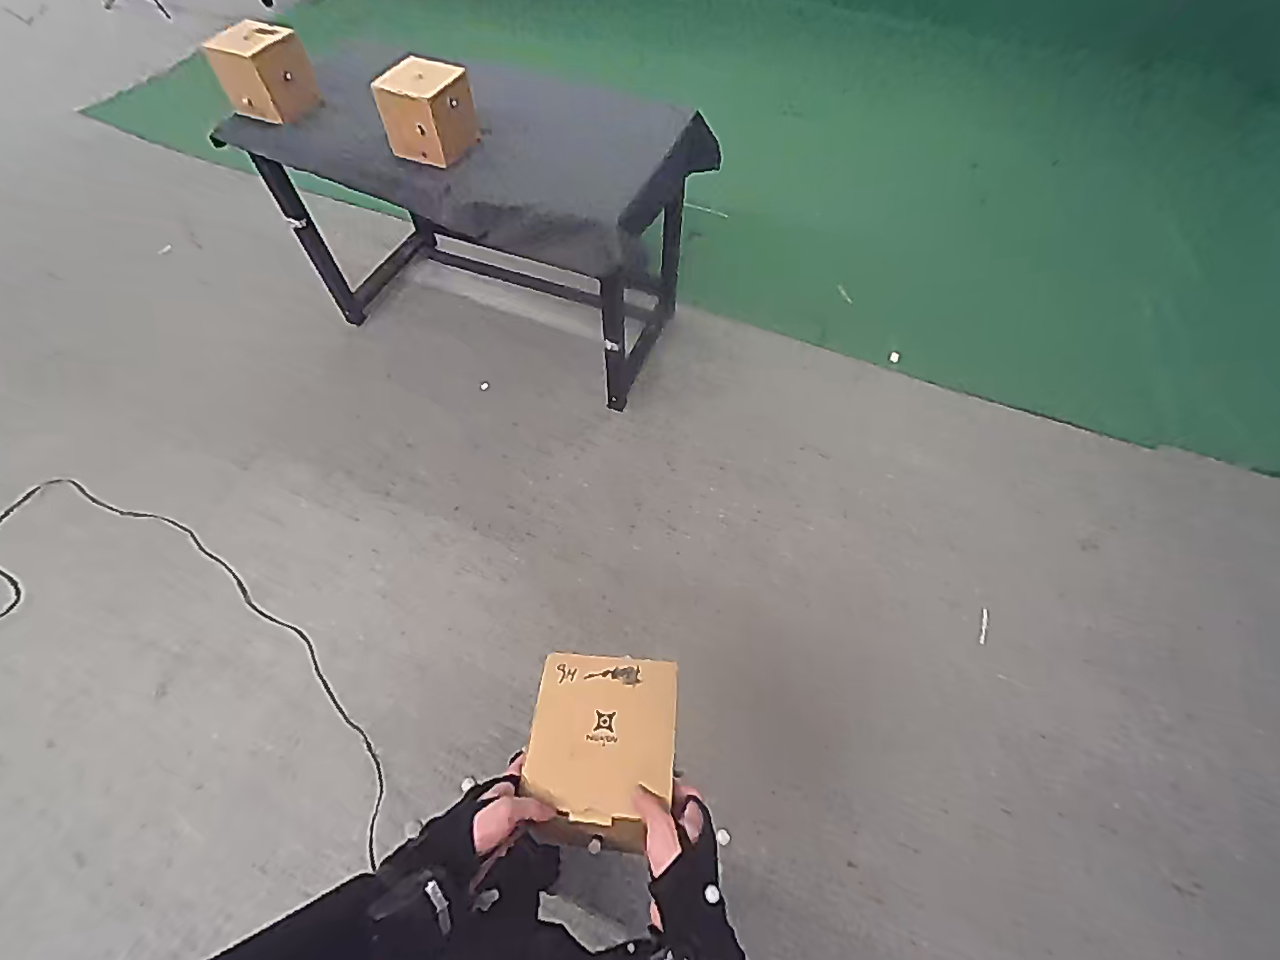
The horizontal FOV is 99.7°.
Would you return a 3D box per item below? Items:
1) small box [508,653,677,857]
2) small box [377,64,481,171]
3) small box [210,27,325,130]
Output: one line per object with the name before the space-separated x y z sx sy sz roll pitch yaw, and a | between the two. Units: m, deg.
small box | -0.042 0.333 0.652 0.168 0.176 0.179 3 46 5
small box | -0.536 -0.937 1.404 0.168 0.176 0.179 20 58 10
small box | -1.018 -1.113 1.502 0.168 0.176 0.179 20 60 11
